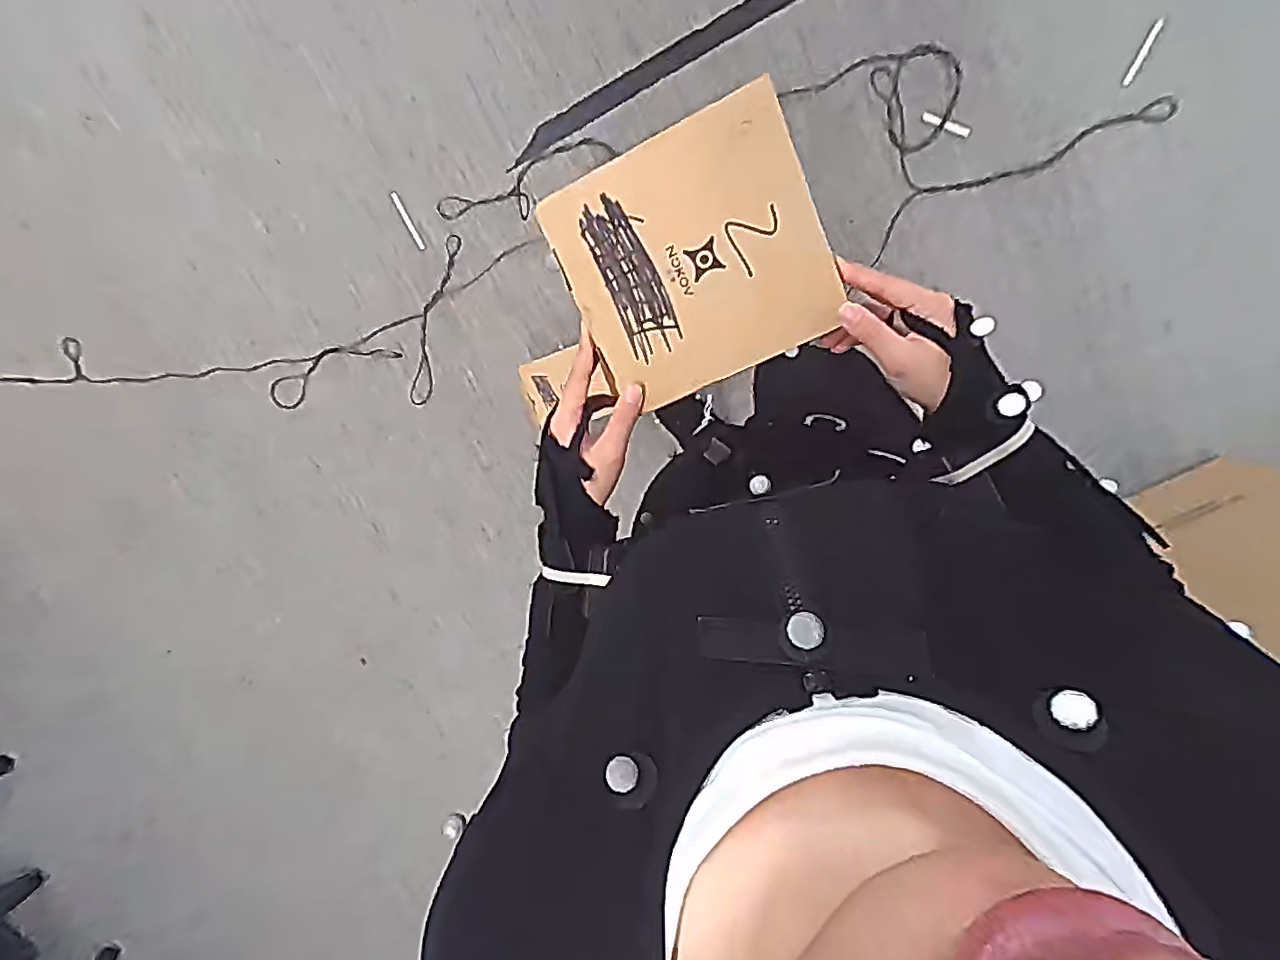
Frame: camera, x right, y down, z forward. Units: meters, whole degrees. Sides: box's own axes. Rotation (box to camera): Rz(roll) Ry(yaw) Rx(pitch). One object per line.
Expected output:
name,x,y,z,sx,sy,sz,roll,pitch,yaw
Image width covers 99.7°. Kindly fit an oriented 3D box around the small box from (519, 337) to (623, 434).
small box,-0.149,-0.218,1.244,0.179,0.176,0.168,-20,102,6
